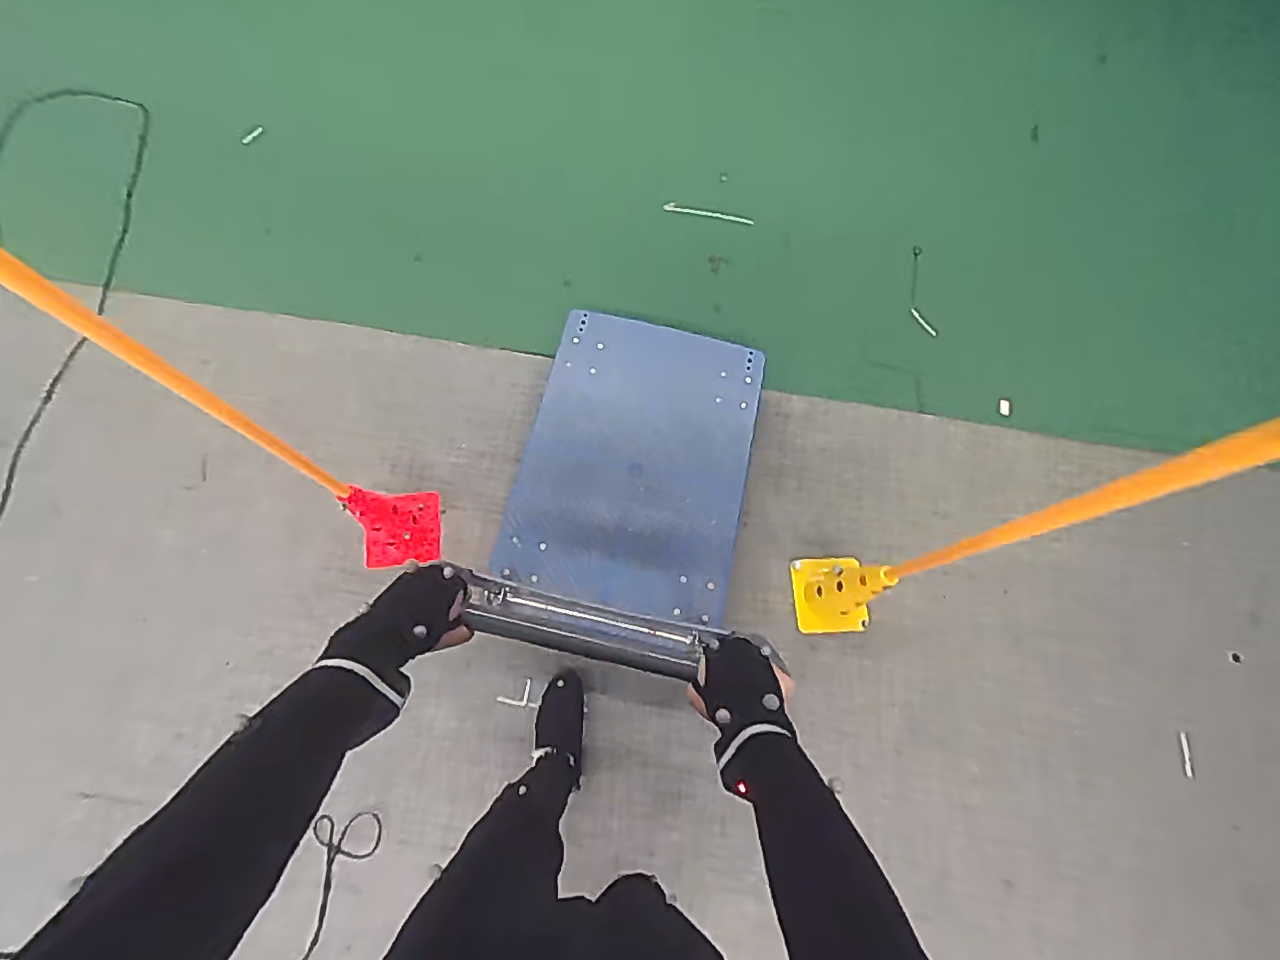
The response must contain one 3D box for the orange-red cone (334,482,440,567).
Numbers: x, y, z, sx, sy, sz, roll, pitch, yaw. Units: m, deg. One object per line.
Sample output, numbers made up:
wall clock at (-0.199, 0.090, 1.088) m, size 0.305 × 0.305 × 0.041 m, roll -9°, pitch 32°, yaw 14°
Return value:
orange-red cone at (-0.641, 0.079, 1.312) m, size 0.199 × 0.360 × 0.198 m, roll -5°, pitch 72°, yaw -4°
